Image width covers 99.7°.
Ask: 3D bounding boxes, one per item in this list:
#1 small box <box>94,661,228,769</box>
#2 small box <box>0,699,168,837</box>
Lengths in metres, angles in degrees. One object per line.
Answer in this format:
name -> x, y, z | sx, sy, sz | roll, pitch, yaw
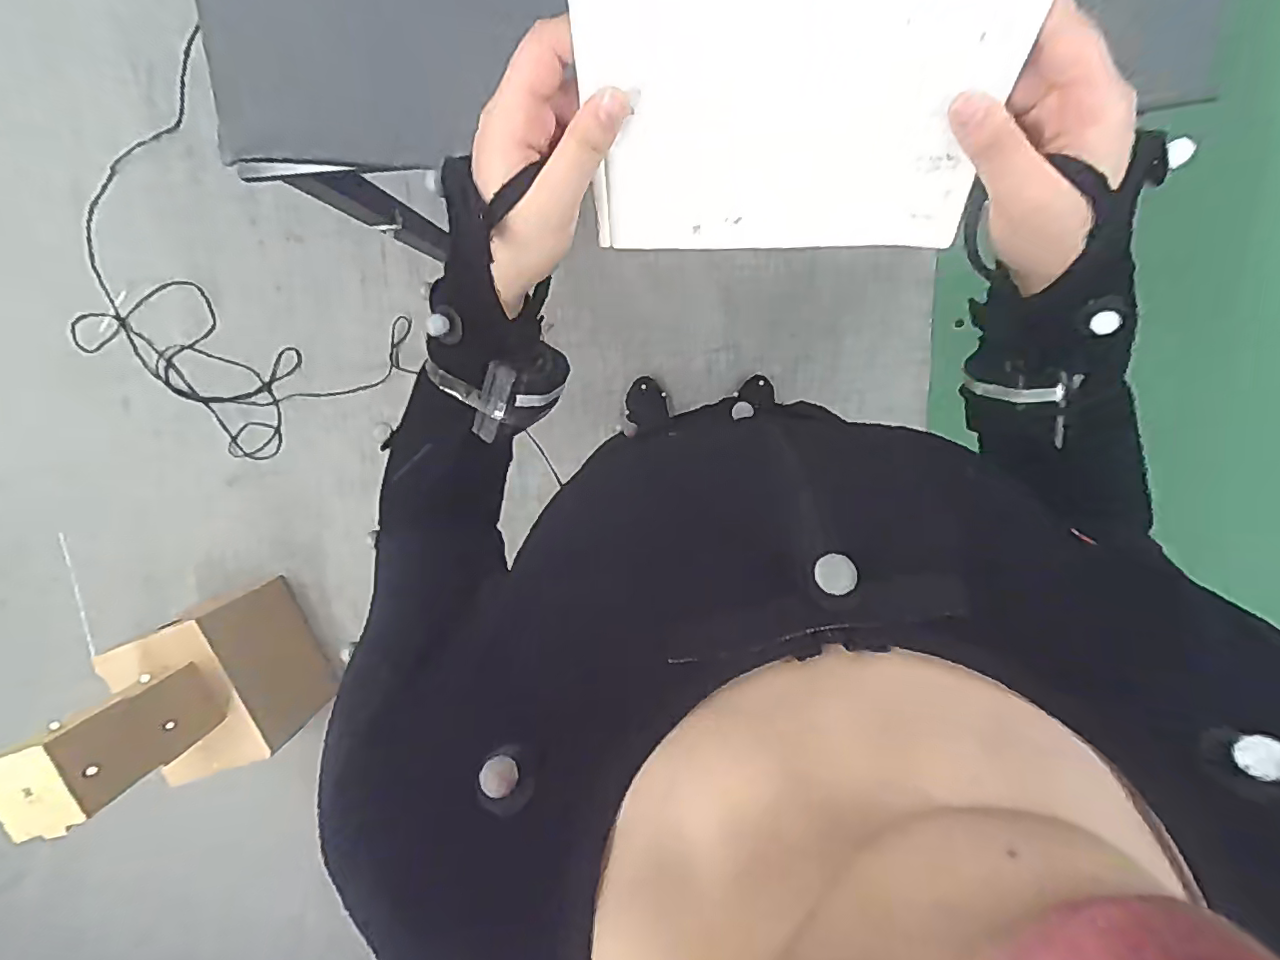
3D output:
small box -> -1.138, 0.564, 1.280 | 0.168, 0.176, 0.179 | -20, 98, 6
small box -> -1.150, 0.580, 1.119 | 0.168, 0.176, 0.179 | -20, 99, 5
